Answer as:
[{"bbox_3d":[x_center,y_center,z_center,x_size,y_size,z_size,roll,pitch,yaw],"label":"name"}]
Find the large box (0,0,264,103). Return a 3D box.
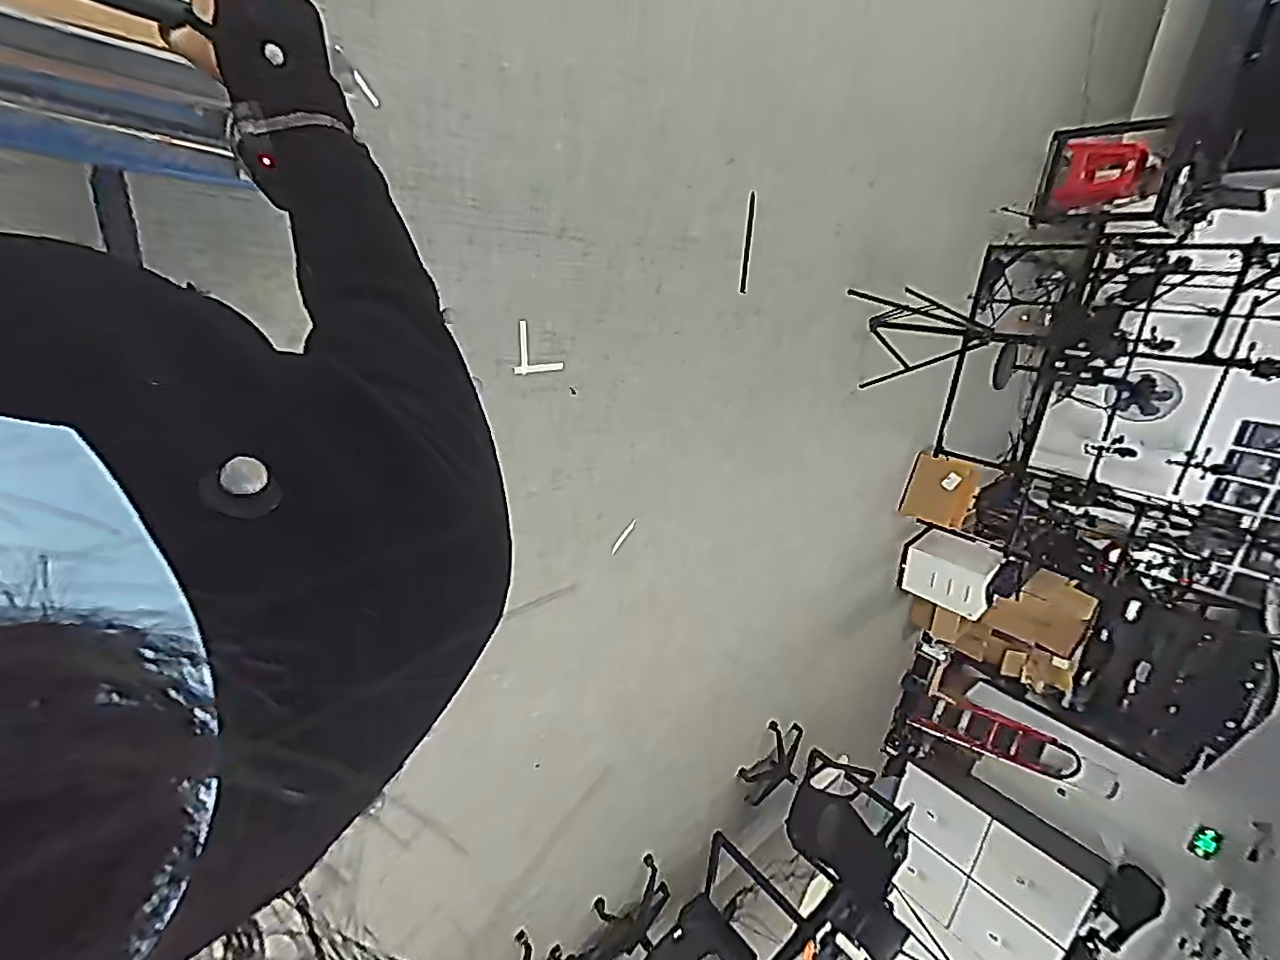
[{"bbox_3d":[-0.760,-0.724,0.674,0.408,0.320,0.320,-14,117,-40],"label":"large box"}]
